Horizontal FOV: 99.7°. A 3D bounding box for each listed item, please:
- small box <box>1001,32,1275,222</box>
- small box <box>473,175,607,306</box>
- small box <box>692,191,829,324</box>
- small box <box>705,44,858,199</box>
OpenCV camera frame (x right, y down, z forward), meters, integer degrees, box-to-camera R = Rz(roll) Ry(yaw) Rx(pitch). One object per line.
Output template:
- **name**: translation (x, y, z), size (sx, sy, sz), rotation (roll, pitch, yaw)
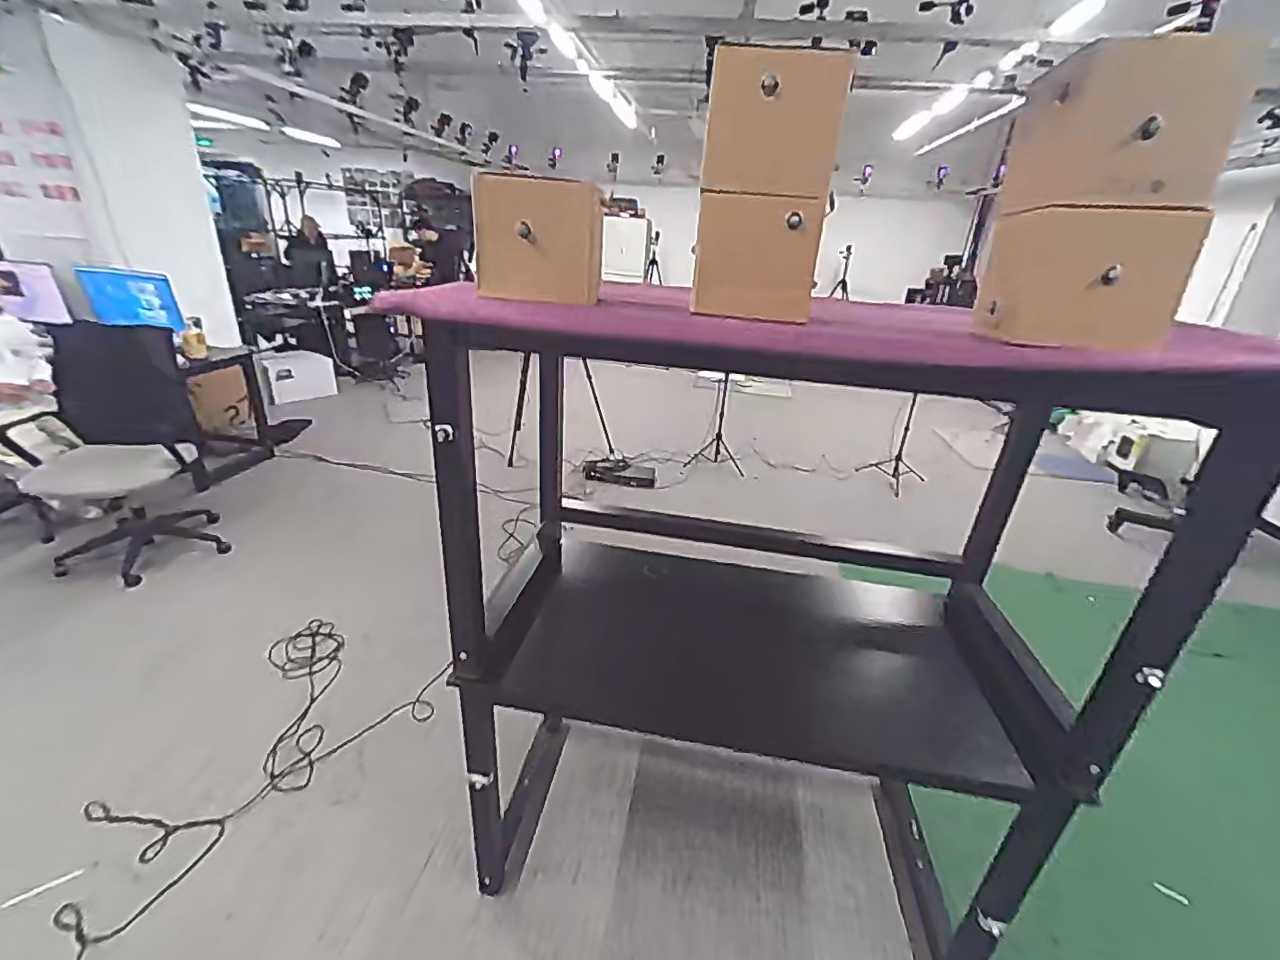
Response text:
- **small box**: translation (0.594, -0.423, 0.678), size (0.168, 0.176, 0.179), rotation (7, 22, 9)
- **small box**: translation (-0.147, -0.370, 0.847), size (0.179, 0.176, 0.168), rotation (4, 25, -1)
- **small box**: translation (0.179, -0.337, 0.834), size (0.179, 0.176, 0.168), rotation (9, 23, 9)
- **small box**: translation (0.192, -0.490, 0.775), size (0.179, 0.176, 0.168), rotation (9, 23, 8)
